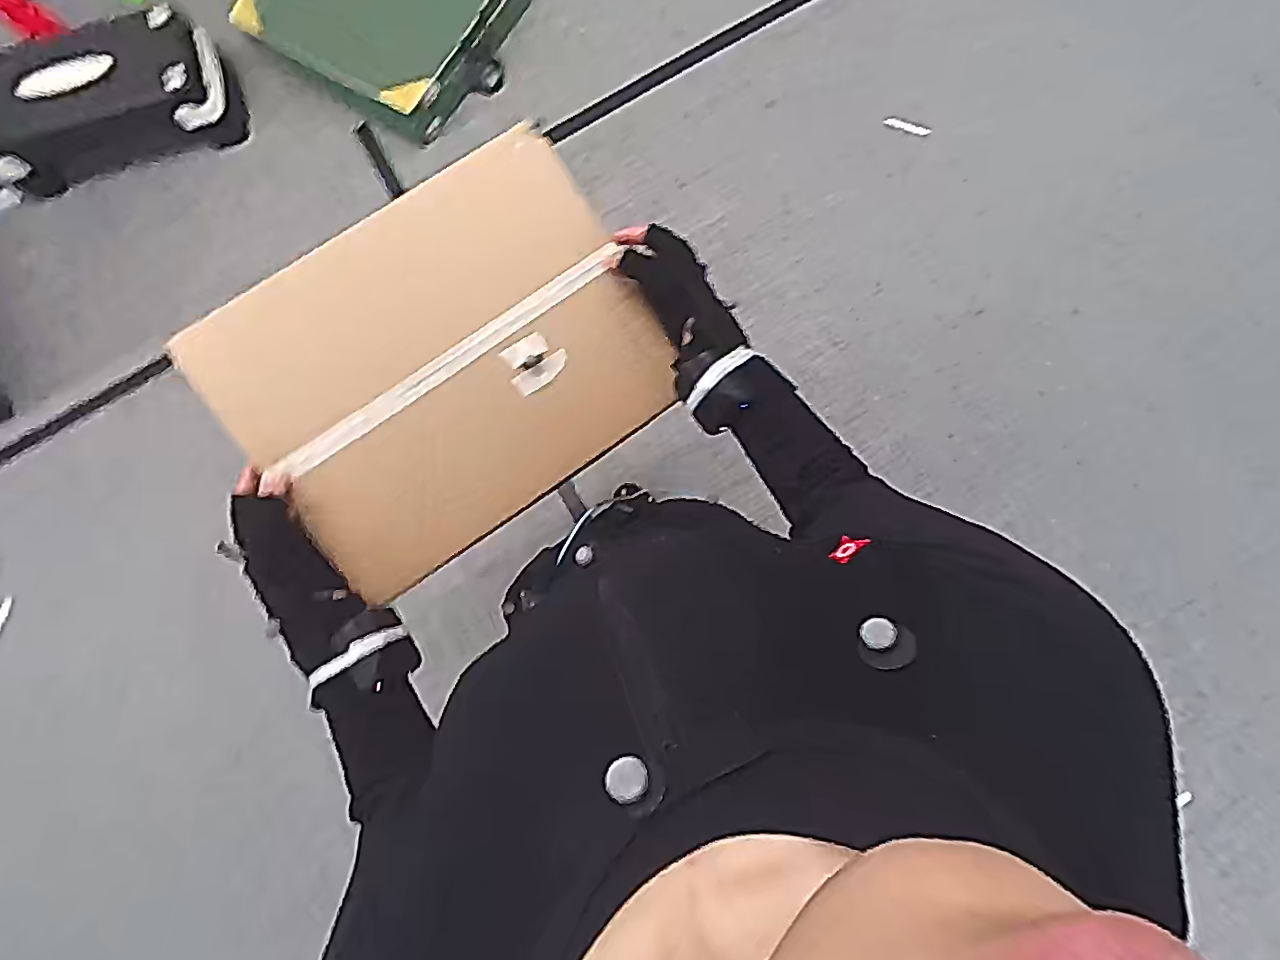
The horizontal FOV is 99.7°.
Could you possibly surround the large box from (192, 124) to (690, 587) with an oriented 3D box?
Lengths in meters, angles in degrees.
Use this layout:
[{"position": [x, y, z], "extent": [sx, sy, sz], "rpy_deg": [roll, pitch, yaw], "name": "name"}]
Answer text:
[{"position": [-0.207, -0.128, 0.694], "extent": [0.408, 0.320, 0.320], "rpy_deg": [-35, 96, -6], "name": "large box"}]
